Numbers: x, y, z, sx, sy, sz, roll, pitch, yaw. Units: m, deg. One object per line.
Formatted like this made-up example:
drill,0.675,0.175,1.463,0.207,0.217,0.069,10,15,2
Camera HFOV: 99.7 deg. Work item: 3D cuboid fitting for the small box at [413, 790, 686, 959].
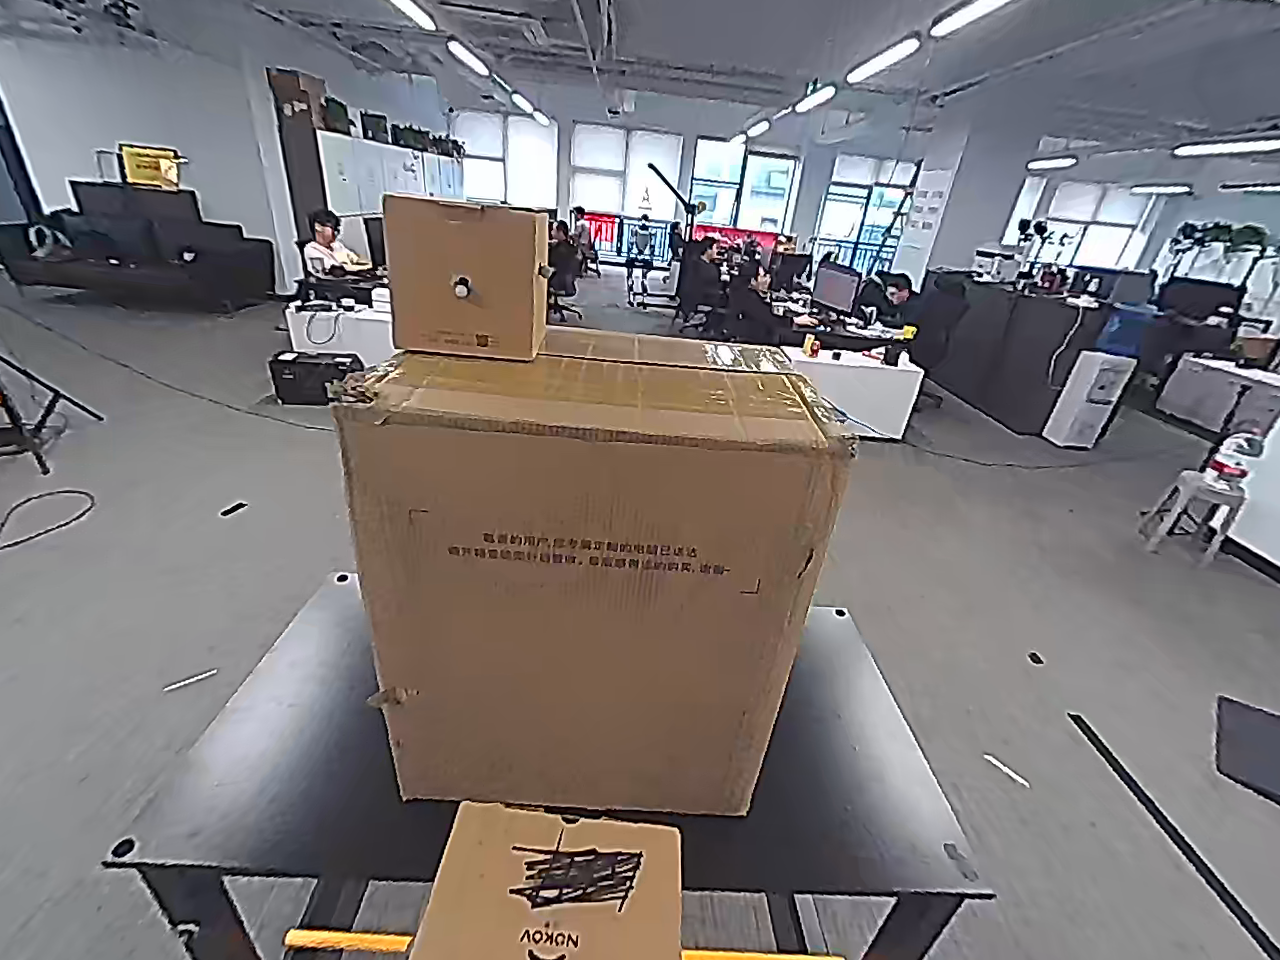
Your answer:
small box,-0.063,0.356,0.370,0.168,0.176,0.179,7,28,-1

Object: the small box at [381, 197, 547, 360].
small box,-0.208,-0.258,0.691,0.168,0.176,0.179,3,27,-7
